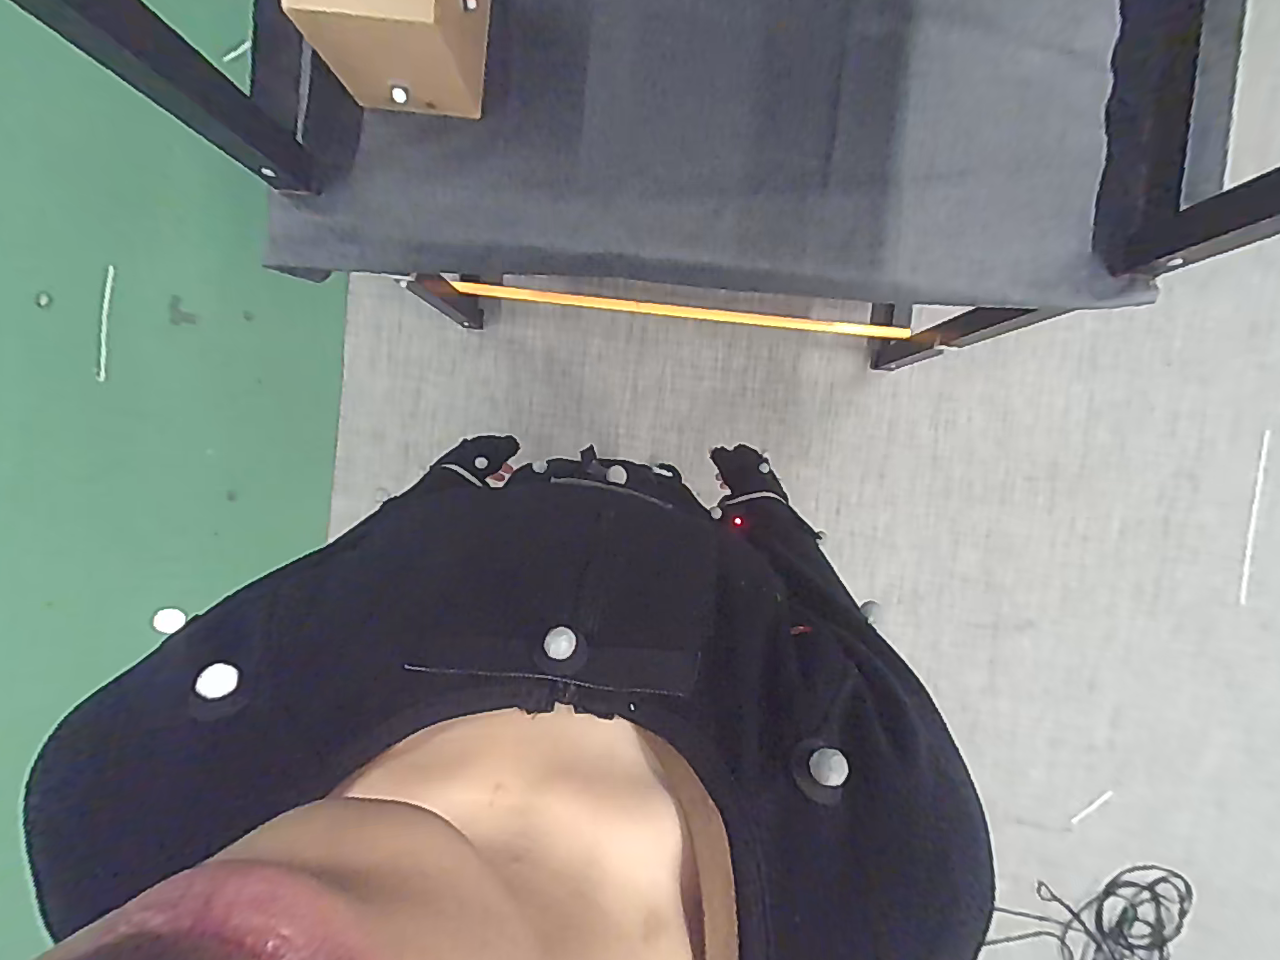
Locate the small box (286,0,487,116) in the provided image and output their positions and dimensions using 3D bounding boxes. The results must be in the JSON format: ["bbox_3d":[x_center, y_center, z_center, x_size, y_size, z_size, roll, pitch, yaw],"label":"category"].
[{"bbox_3d":[-0.289,-0.584,0.649,0.168,0.176,0.179,6,93,0],"label":"small box"}]
